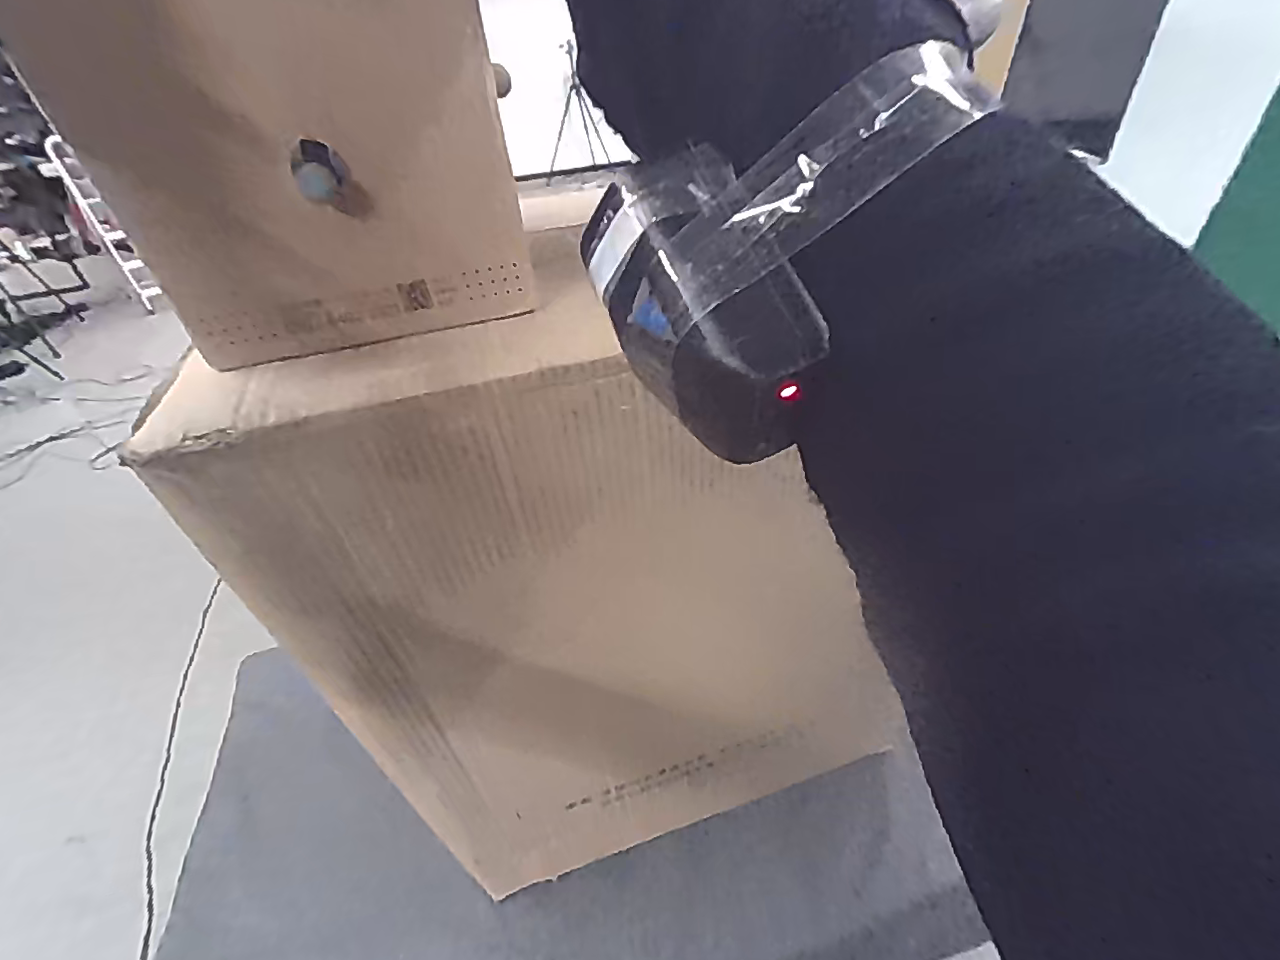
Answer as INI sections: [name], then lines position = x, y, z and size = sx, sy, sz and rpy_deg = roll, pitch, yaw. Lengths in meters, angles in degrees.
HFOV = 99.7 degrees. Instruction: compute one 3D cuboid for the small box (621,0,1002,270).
[small box]
position = 0.092, -0.243, 0.344
size = 0.168, 0.176, 0.179
rpy_deg = -13, 40, -13
